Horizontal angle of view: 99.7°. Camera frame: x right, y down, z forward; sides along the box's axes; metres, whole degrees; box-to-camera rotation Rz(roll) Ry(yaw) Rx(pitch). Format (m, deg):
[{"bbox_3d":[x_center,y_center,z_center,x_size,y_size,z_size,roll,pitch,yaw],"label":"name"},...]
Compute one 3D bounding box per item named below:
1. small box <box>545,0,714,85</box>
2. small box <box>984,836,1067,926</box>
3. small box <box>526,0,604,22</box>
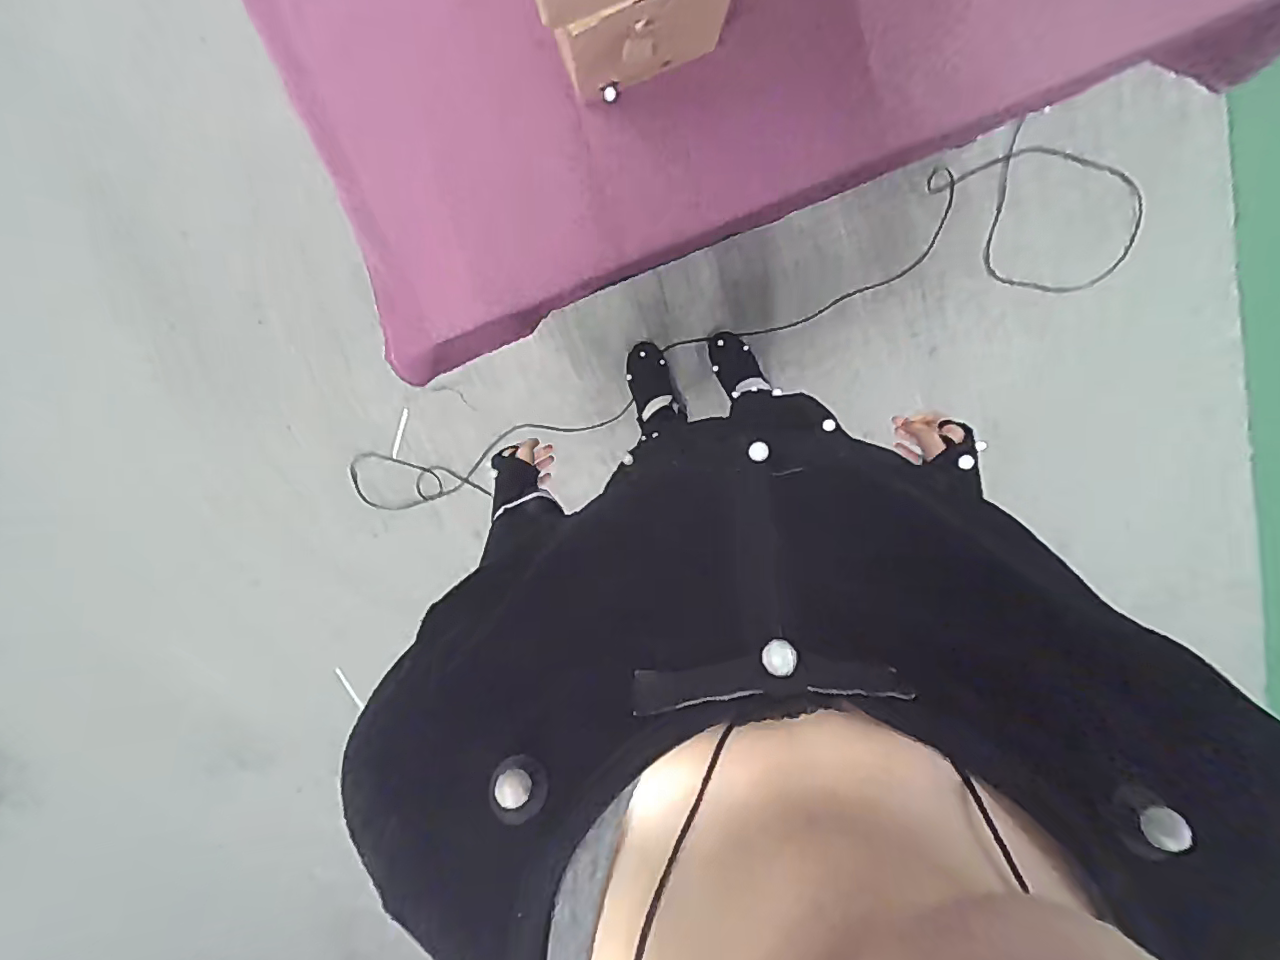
[{"bbox_3d":[-0.026,-0.520,0.517,0.168,0.176,0.179,-22,106,4],"label":"small box"},{"bbox_3d":[1.360,1.416,1.915,0.168,0.176,0.179,-21,106,4],"label":"small box"},{"bbox_3d":[-0.030,-0.467,0.361,0.179,0.176,0.168,-21,106,3],"label":"small box"}]
